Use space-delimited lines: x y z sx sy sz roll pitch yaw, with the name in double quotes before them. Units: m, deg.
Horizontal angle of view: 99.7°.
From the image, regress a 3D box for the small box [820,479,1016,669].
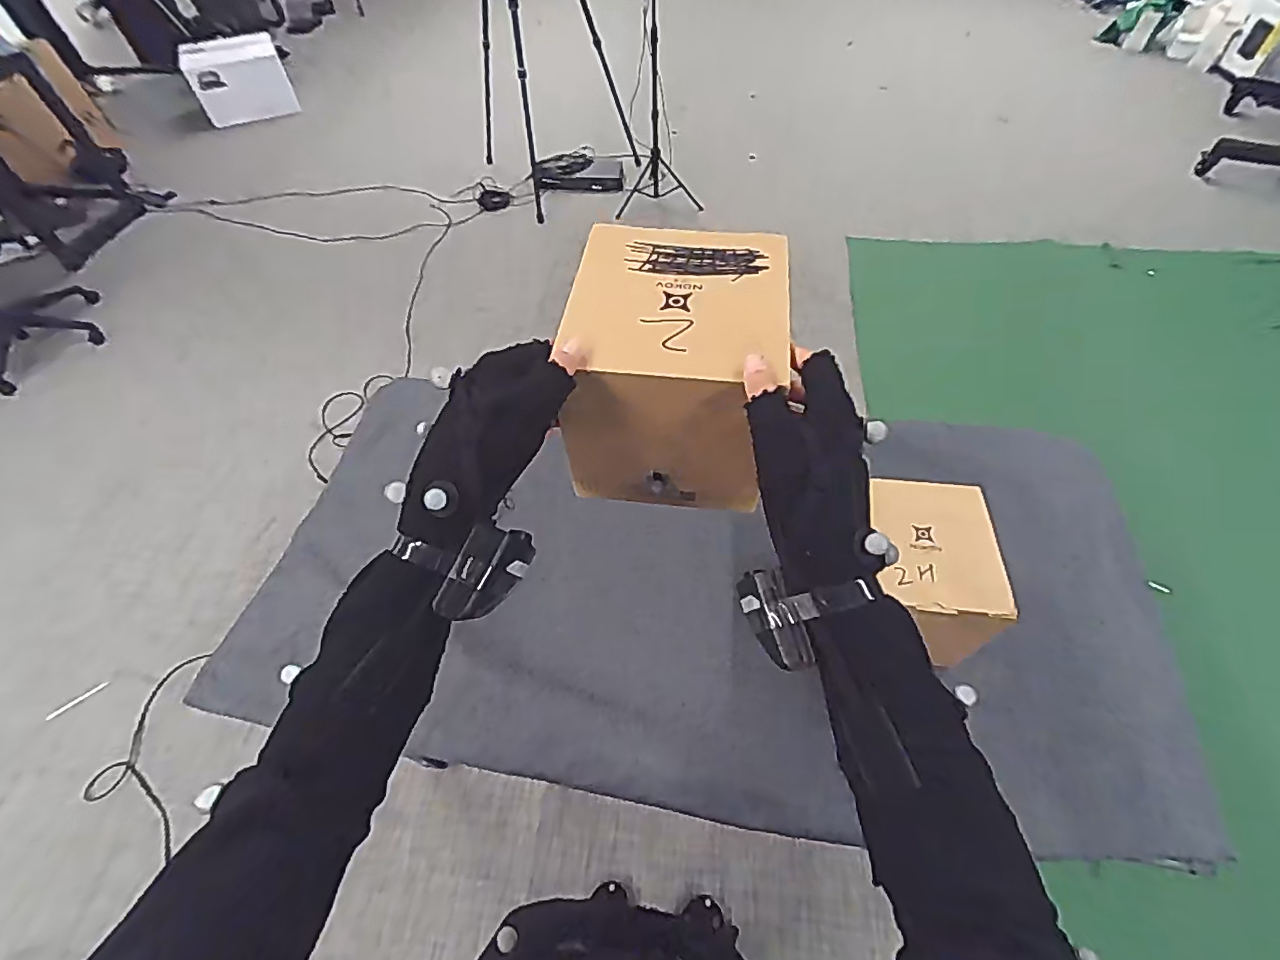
"small box" 0.335 0.122 0.697 0.168 0.176 0.179 5 53 7
